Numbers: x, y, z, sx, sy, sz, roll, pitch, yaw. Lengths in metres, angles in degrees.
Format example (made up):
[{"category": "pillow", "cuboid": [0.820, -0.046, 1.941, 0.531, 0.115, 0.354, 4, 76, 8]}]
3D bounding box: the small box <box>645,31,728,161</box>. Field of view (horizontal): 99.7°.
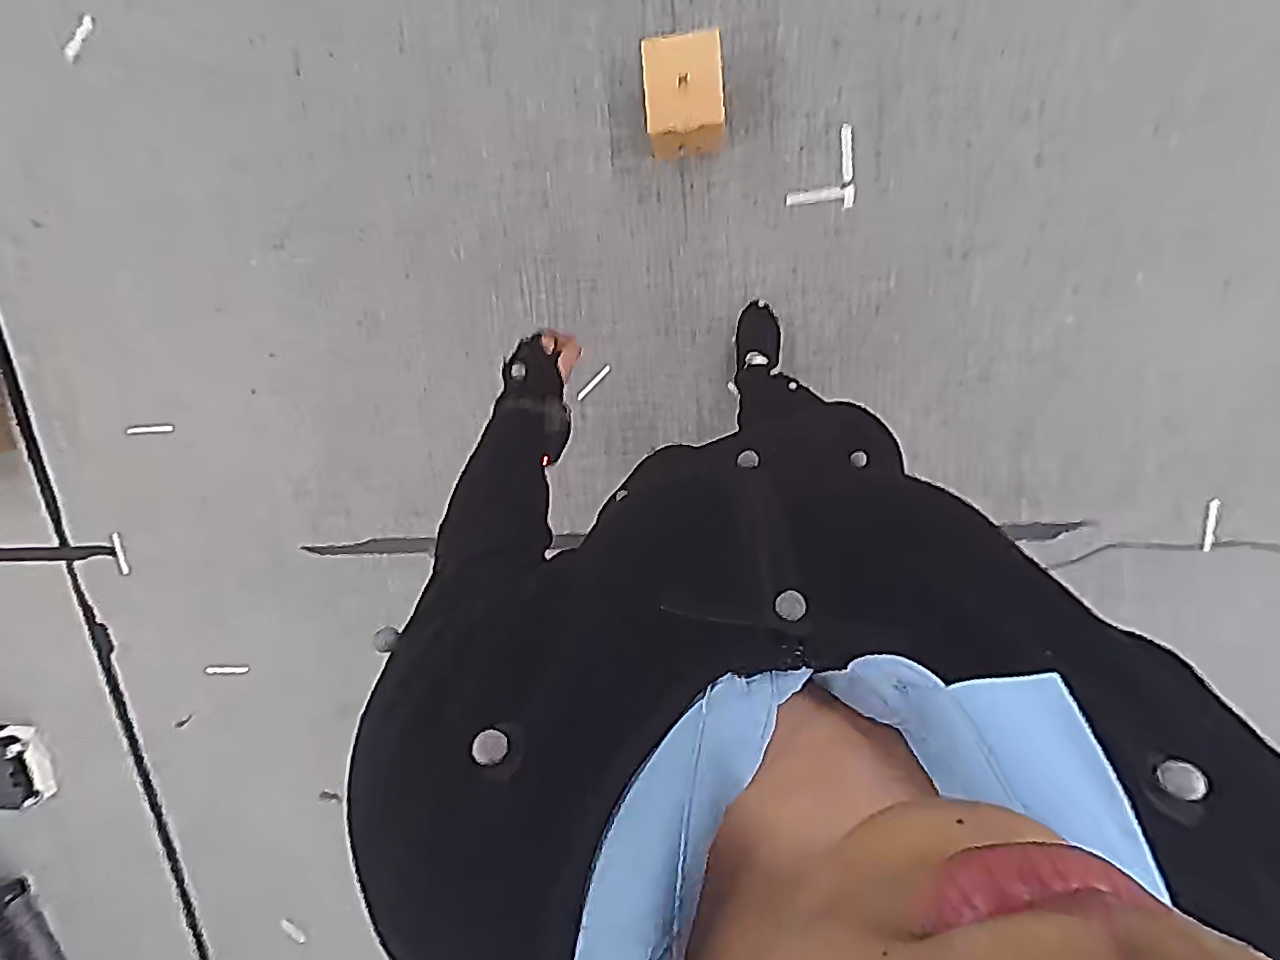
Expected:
[{"category": "small box", "cuboid": [0.104, -0.849, 1.212, 0.168, 0.176, 0.179, -5, 103, 7]}]
